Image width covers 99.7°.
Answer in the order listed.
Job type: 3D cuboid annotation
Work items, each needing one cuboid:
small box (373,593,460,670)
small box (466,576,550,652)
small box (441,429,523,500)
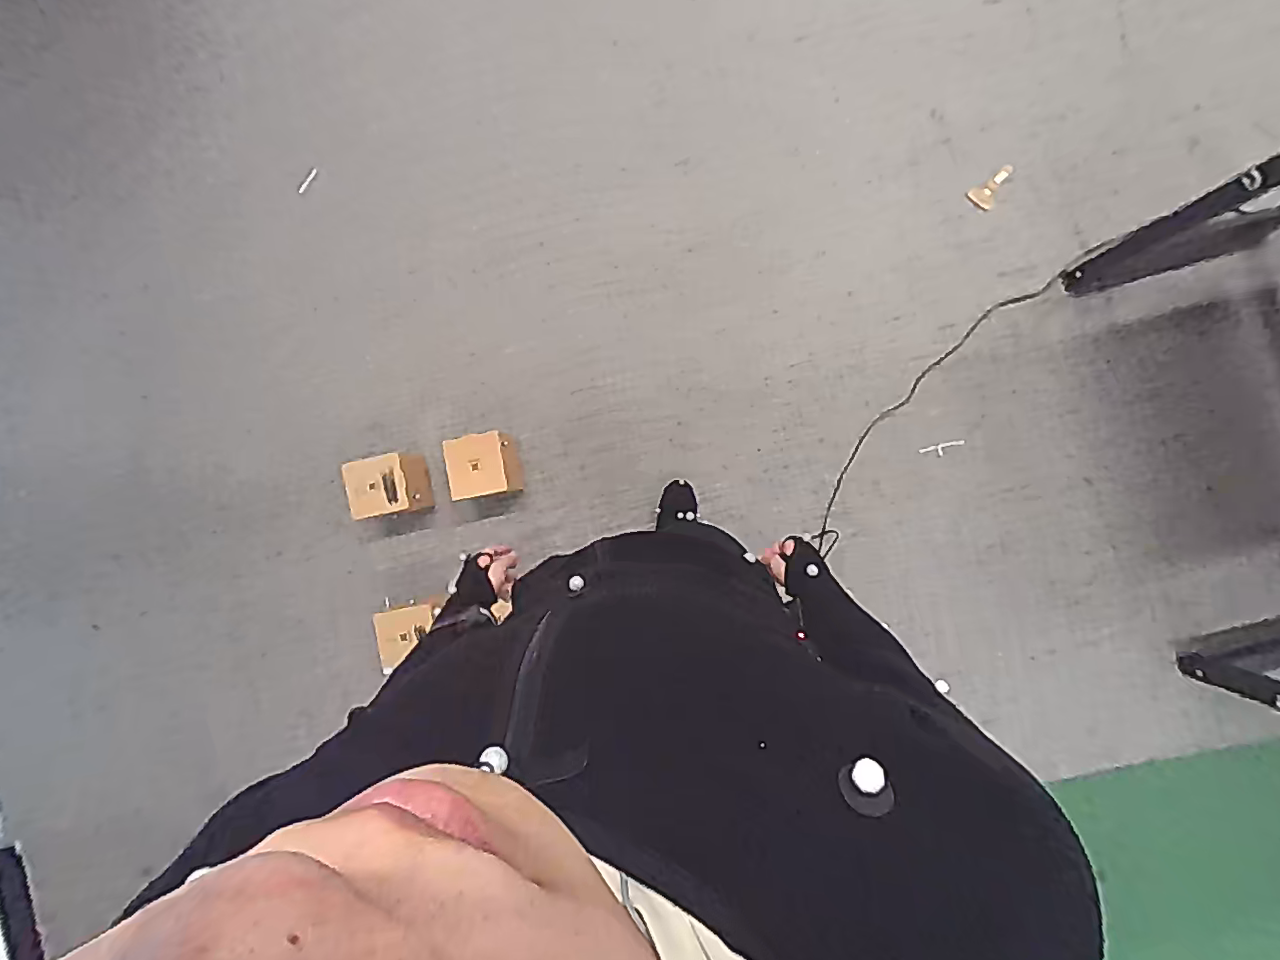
[{"bbox_3d":[-0.650,0.441,1.597,0.179,0.176,0.168,-11,88,5],"label":"small box"},{"bbox_3d":[-0.378,0.385,1.573,0.179,0.176,0.168,-12,89,5],"label":"small box"},{"bbox_3d":[-0.457,-0.042,1.586,0.168,0.176,0.179,-11,88,5],"label":"small box"}]
